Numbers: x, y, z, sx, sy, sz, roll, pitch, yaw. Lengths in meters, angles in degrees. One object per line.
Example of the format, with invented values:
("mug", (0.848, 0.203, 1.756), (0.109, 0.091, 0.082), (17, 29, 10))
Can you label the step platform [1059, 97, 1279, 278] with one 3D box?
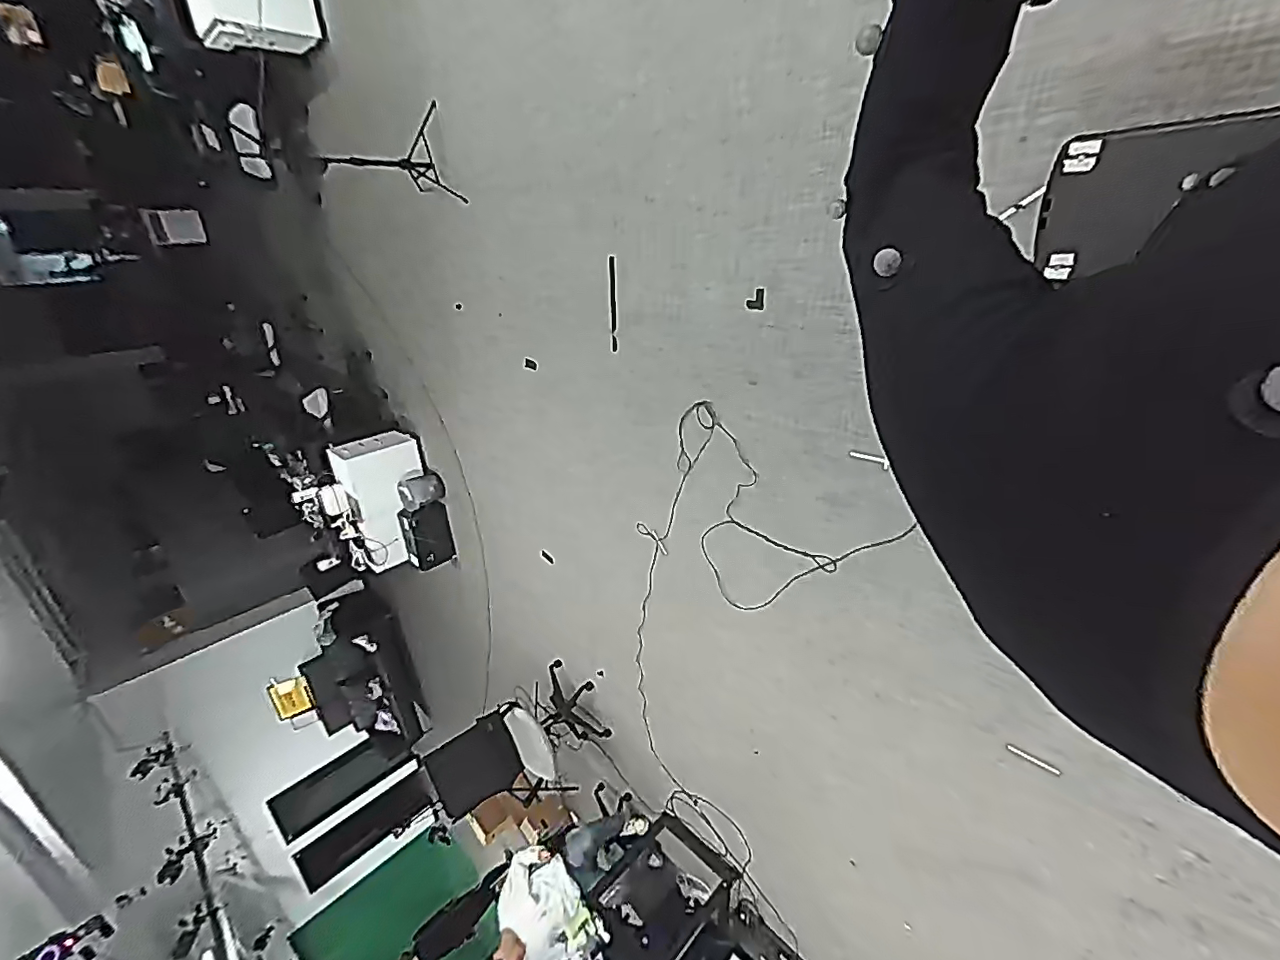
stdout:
("step platform", (1.162, -0.510, 0.939), (0.684, 0.204, 0.286), (17, 122, 41))
